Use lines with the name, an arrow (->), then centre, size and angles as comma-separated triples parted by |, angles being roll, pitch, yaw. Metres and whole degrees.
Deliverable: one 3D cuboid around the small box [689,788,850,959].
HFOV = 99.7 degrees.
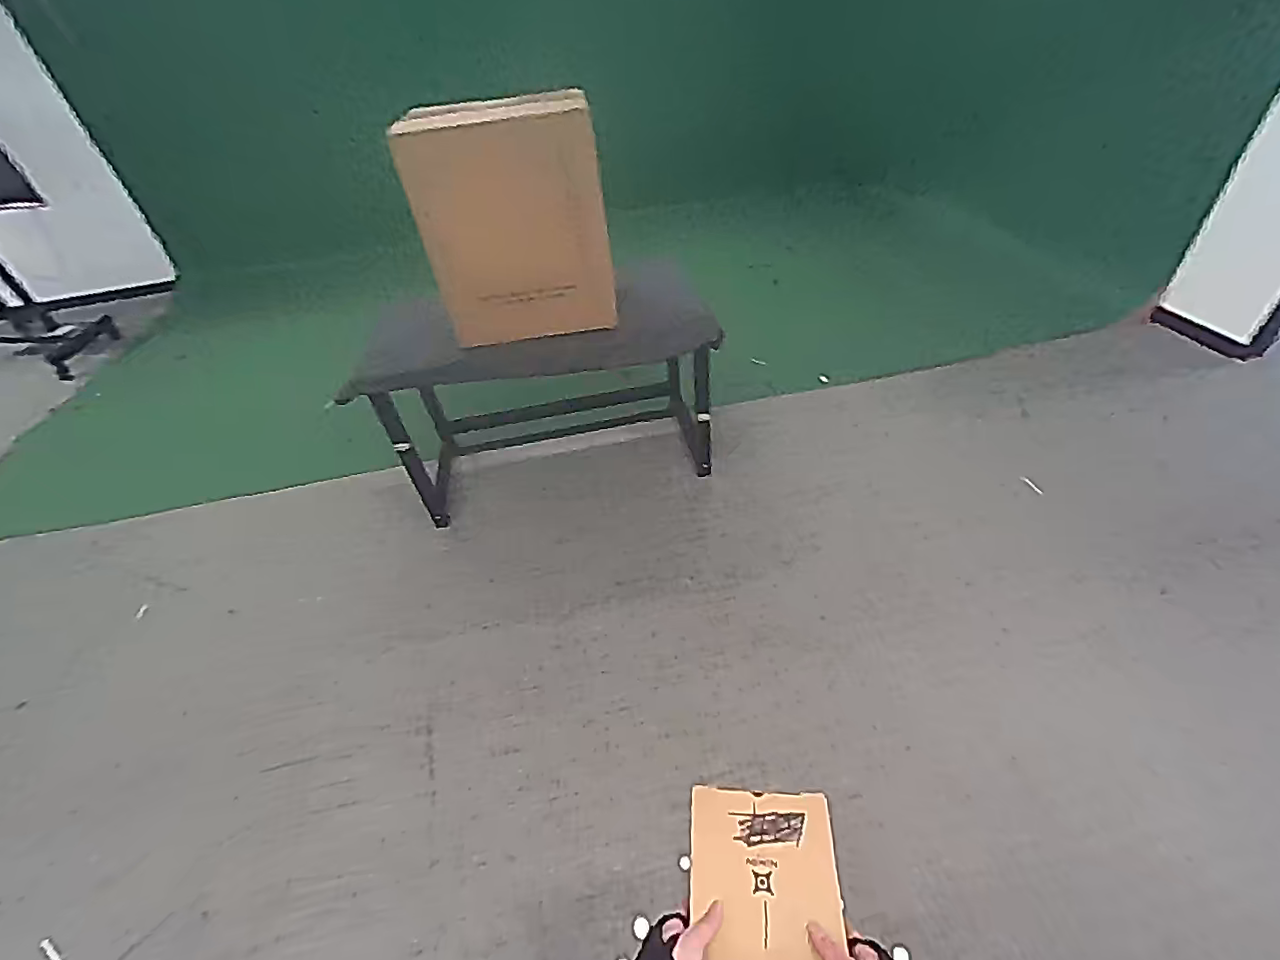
small box -> 0.147, 0.508, 0.657 | 0.168, 0.176, 0.179 | 1, 41, 8
